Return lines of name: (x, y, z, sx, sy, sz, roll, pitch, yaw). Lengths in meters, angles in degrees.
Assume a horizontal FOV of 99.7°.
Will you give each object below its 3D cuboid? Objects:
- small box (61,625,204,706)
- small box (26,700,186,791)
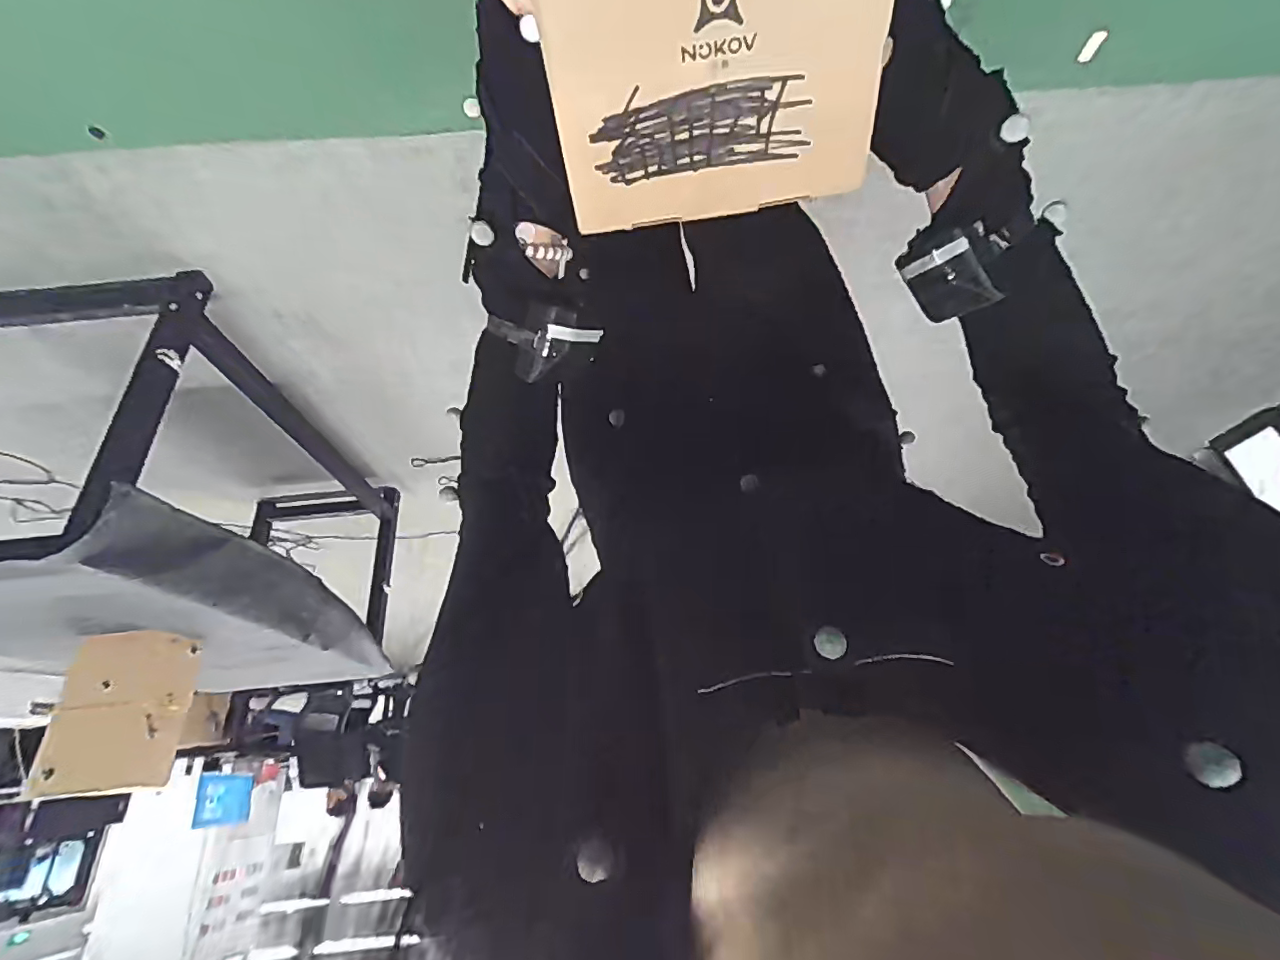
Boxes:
small box: (-1.195, 0.450, 1.295, 0.179, 0.176, 0.168, -4, 152, 0)
small box: (-1.196, 0.601, 1.229, 0.179, 0.176, 0.168, -7, 153, 1)
